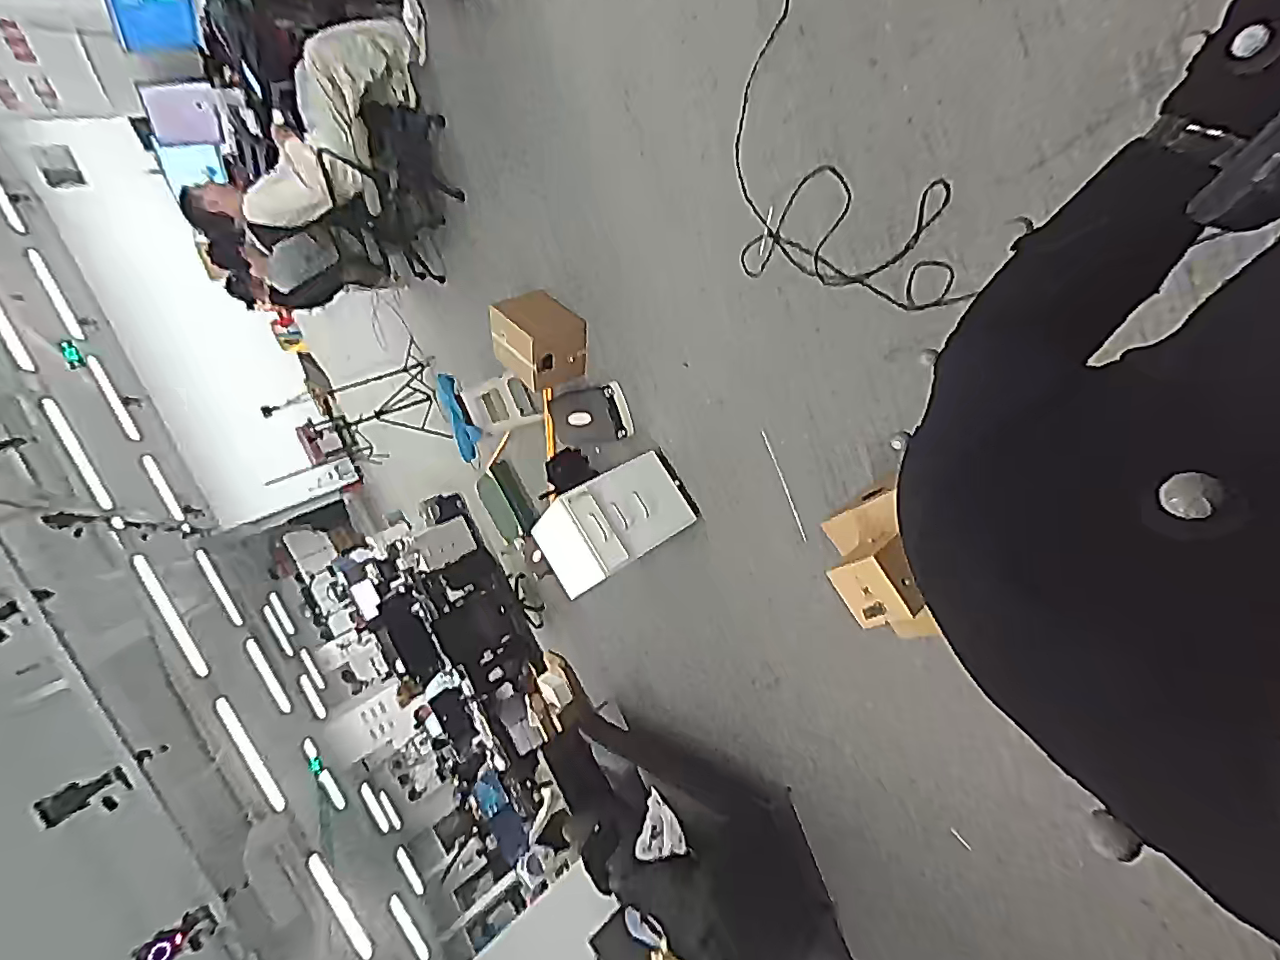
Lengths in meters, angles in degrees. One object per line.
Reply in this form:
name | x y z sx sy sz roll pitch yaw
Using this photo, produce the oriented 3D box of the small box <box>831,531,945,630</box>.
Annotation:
small box | 0.644 0.260 1.400 0.179 0.176 0.168 58 147 7
